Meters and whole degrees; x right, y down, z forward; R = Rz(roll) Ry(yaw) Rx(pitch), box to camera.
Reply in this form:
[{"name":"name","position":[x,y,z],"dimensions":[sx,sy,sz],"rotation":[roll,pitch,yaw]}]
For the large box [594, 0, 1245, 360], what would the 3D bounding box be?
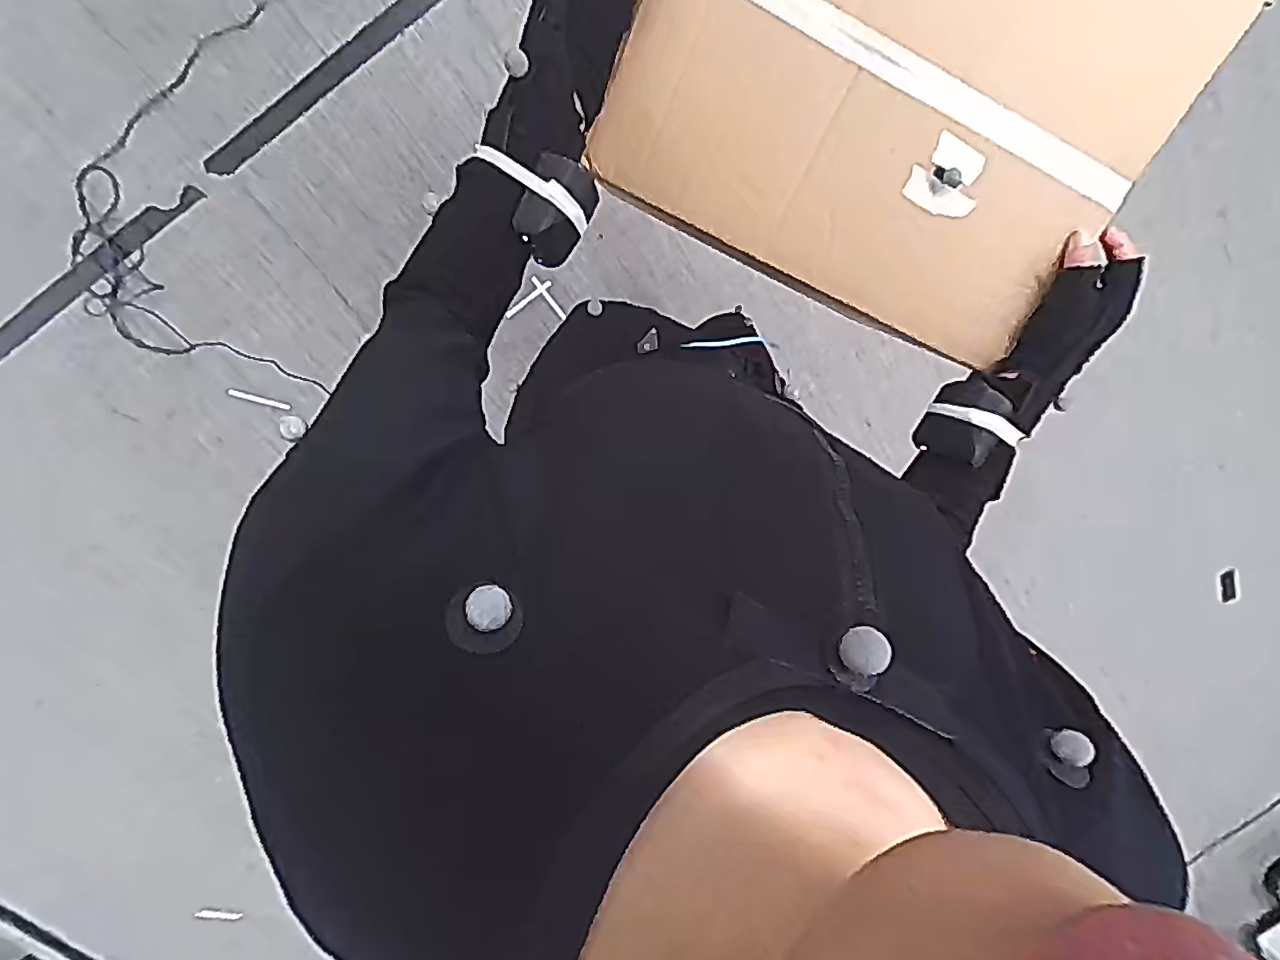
[{"name":"large box","position":[0.200,-0.370,0.546],"dimensions":[0.408,0.320,0.320],"rotation":[23,114,-10]}]
